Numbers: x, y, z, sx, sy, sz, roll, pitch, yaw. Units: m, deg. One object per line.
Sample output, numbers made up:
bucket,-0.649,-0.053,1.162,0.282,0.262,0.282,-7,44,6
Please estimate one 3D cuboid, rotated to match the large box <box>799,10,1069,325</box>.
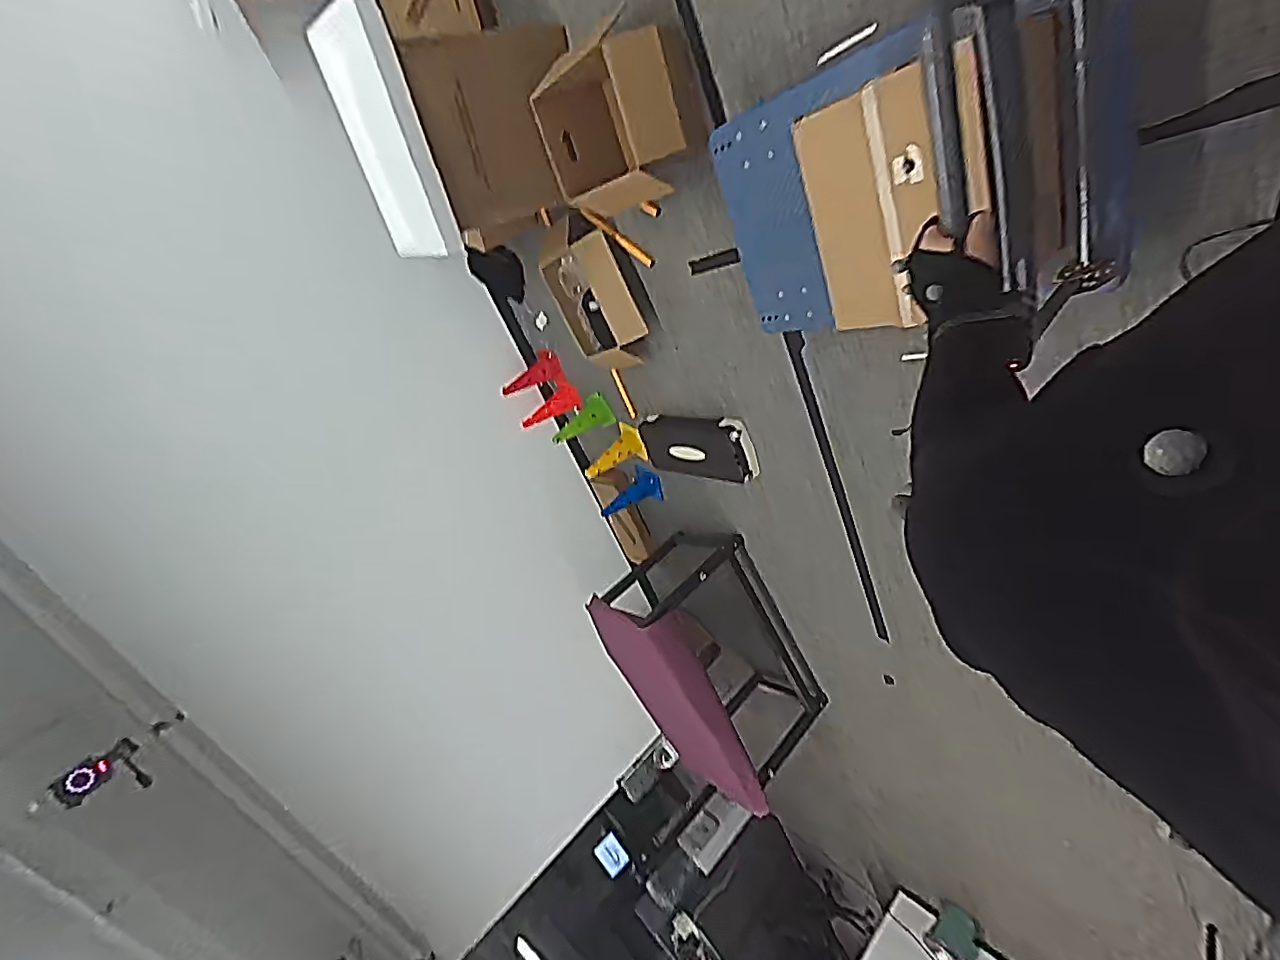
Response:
large box,0.562,-0.556,1.021,0.320,0.320,0.408,10,130,52
